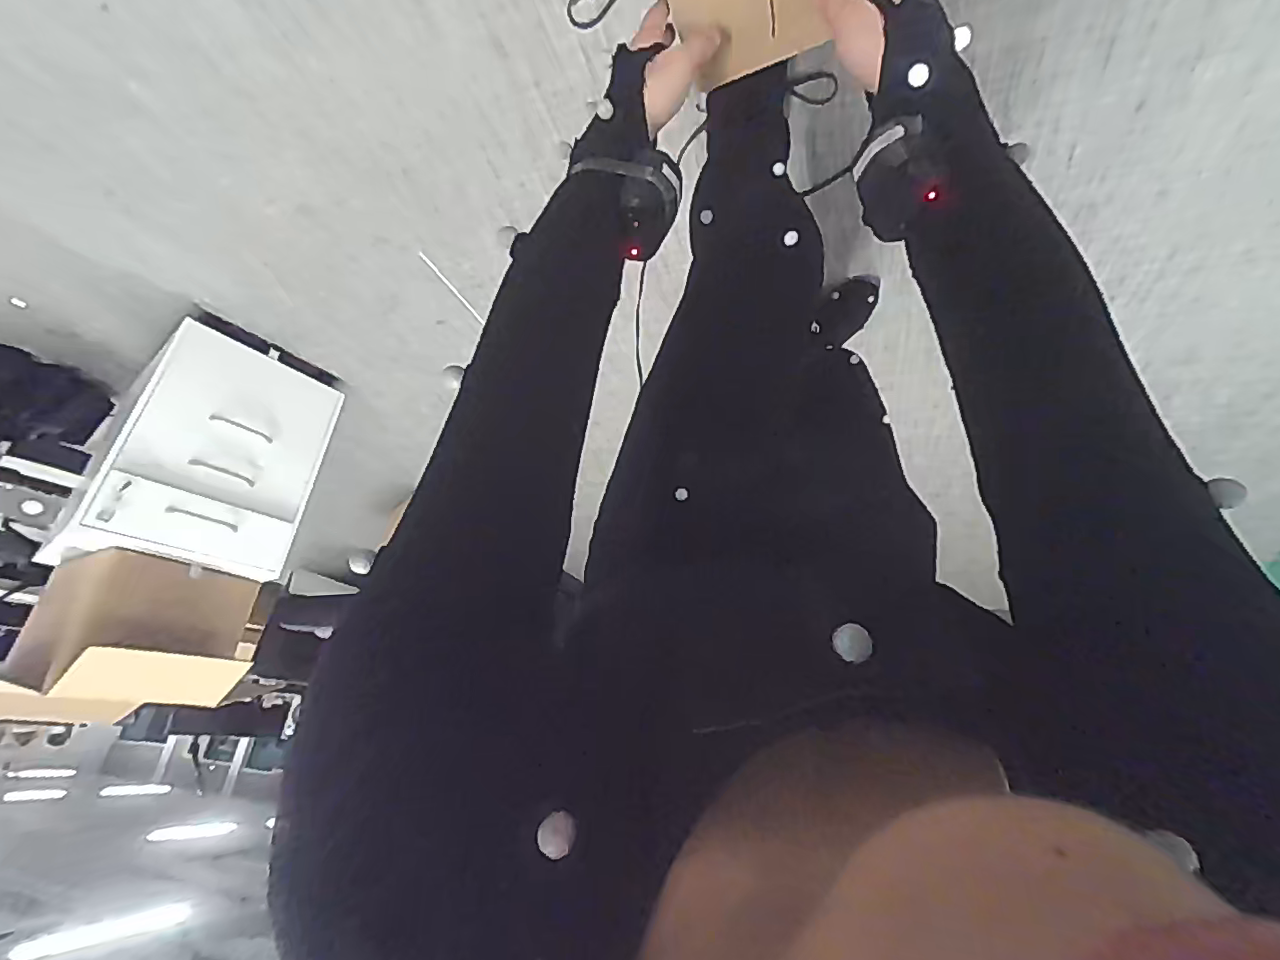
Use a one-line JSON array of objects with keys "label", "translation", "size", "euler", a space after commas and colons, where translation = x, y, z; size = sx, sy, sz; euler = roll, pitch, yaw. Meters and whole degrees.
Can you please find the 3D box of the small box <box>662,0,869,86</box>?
[{"label": "small box", "translation": [0.094, -0.498, 0.458], "size": [0.168, 0.176, 0.179], "euler": [-6, 153, 24]}]
